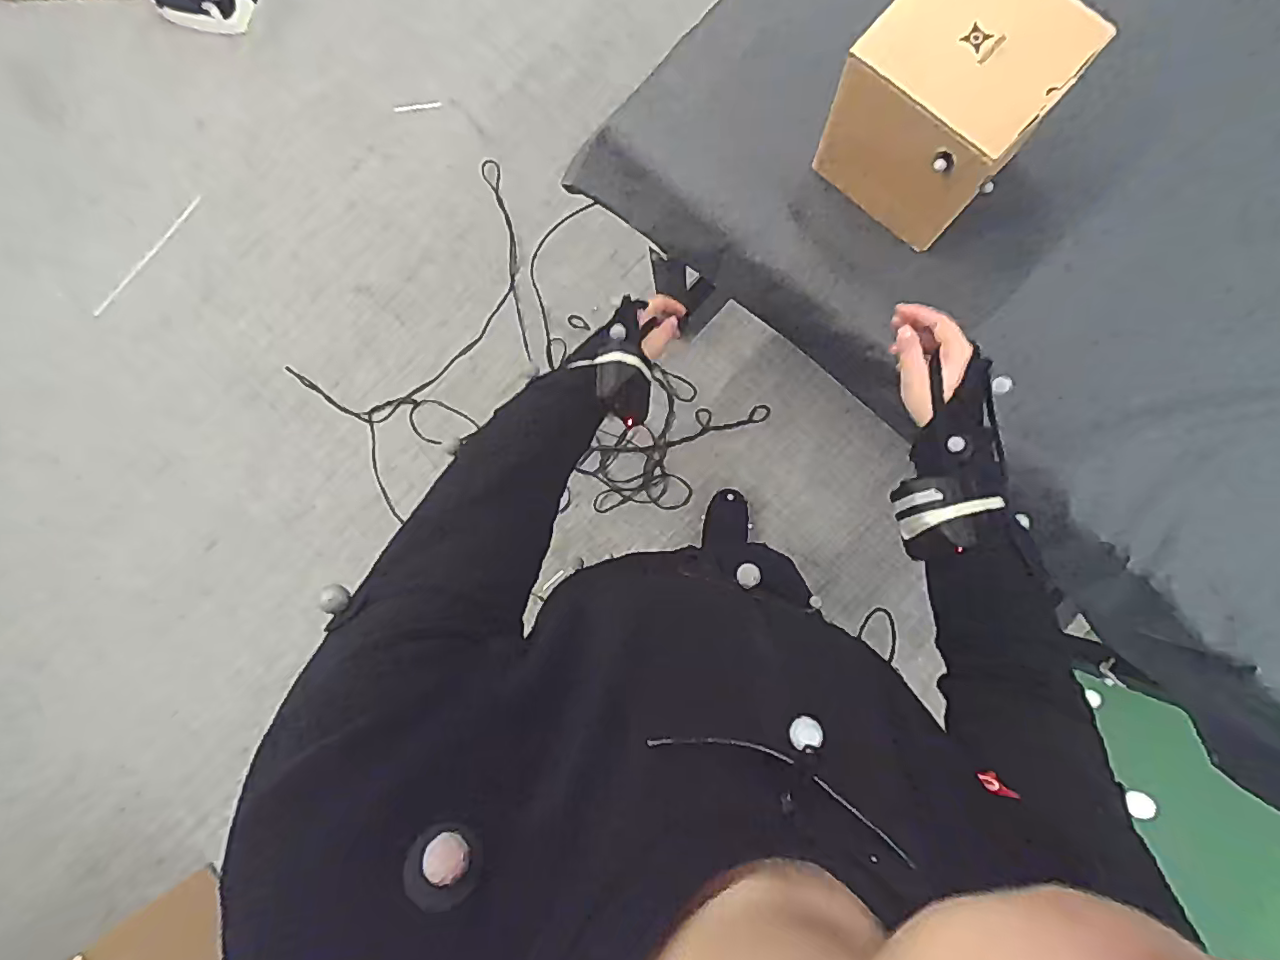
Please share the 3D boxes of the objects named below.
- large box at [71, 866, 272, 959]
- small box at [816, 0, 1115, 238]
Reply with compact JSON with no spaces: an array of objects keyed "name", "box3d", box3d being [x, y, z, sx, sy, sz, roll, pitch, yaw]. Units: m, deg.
[{"name":"large box","box3d":[-1.133,1.245,1.258,0.320,0.320,0.408,-40,81,1]},{"name":"small box","box3d":[0.316,-0.399,0.573,0.179,0.176,0.168,42,90,7]}]
